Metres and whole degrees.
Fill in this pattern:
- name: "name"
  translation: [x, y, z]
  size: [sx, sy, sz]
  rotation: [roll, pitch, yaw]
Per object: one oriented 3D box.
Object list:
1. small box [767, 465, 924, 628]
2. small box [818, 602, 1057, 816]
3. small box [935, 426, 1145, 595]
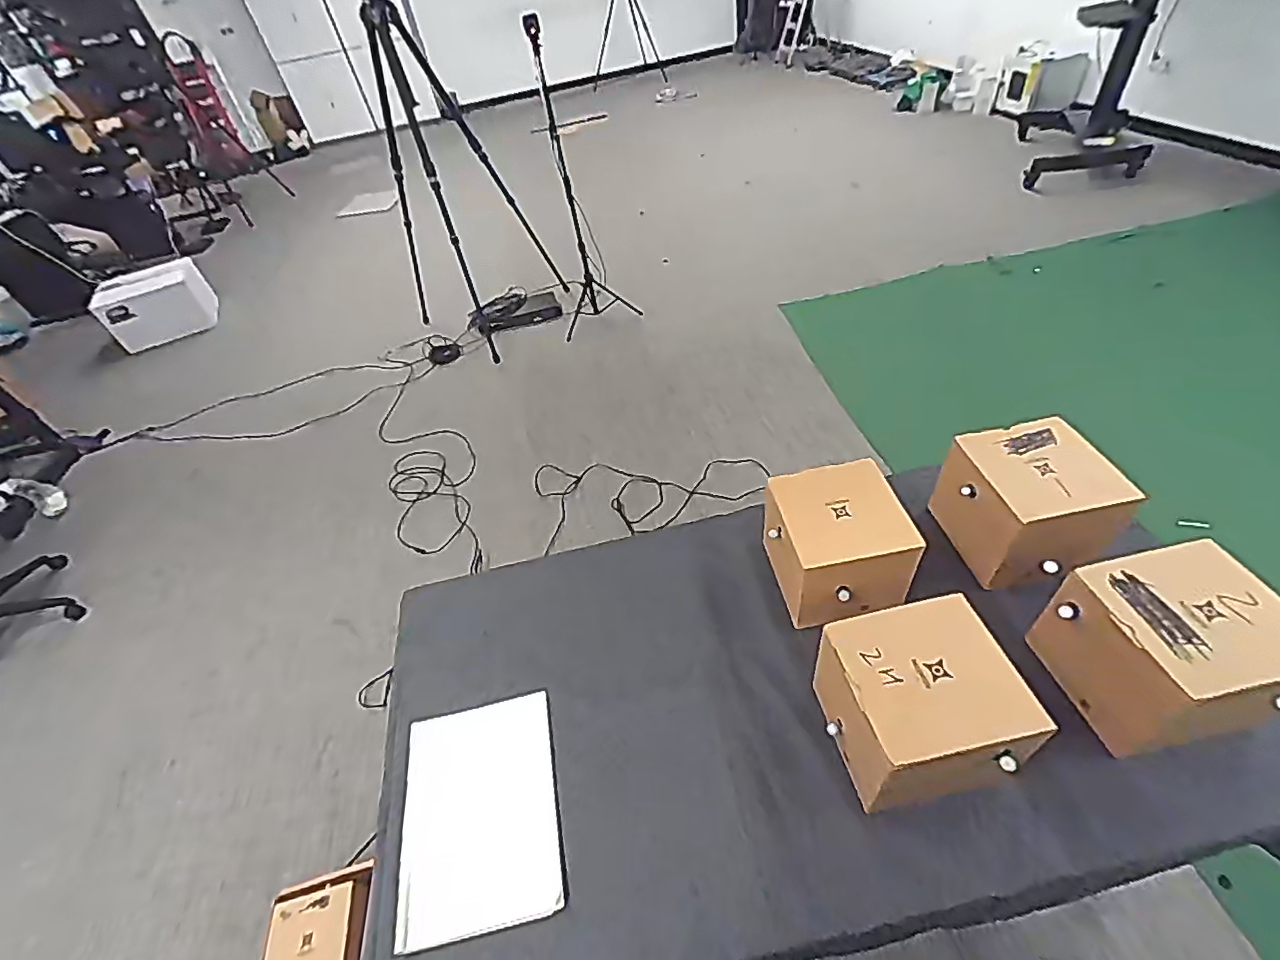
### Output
- name: "small box"
  translation: [0.297, 0.108, 0.823]
  size: [0.168, 0.176, 0.179]
  rotation: [-11, 44, 1]
- name: "small box"
  translation: [0.330, 0.274, 0.645]
  size: [0.179, 0.176, 0.168]
  rotation: [-13, 43, 0]
- name: "small box"
  translation: [0.581, 0.047, 0.820]
  size: [0.168, 0.176, 0.179]
  rotation: [-11, 45, 1]
